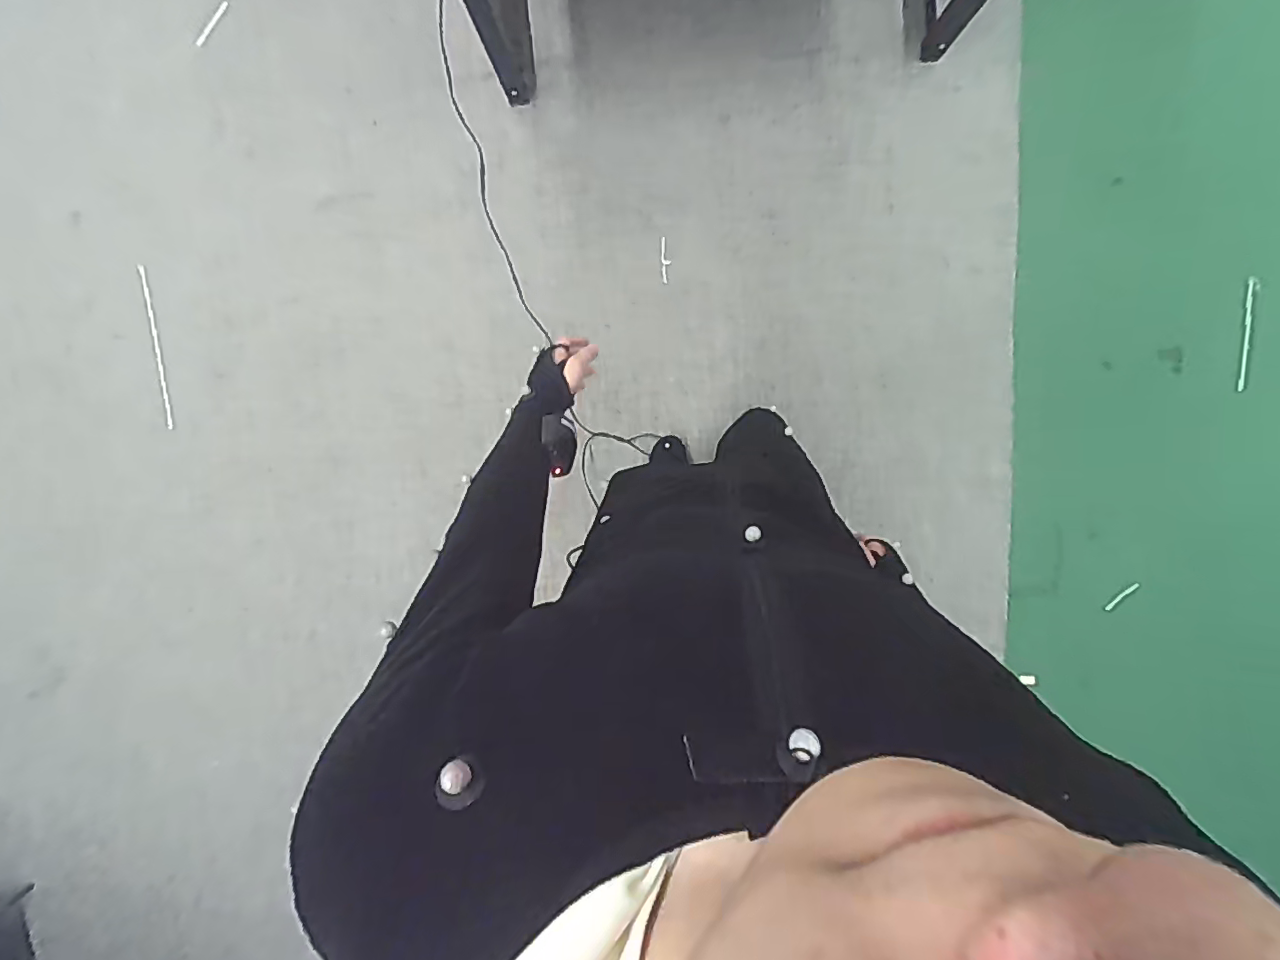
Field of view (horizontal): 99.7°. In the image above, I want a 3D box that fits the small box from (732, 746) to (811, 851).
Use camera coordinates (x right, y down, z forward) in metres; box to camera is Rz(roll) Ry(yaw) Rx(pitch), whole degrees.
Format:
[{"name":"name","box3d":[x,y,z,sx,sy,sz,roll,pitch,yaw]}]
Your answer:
[{"name":"small box","box3d":[0.337,0.824,1.405,0.168,0.176,0.179,-2,99,0]}]
